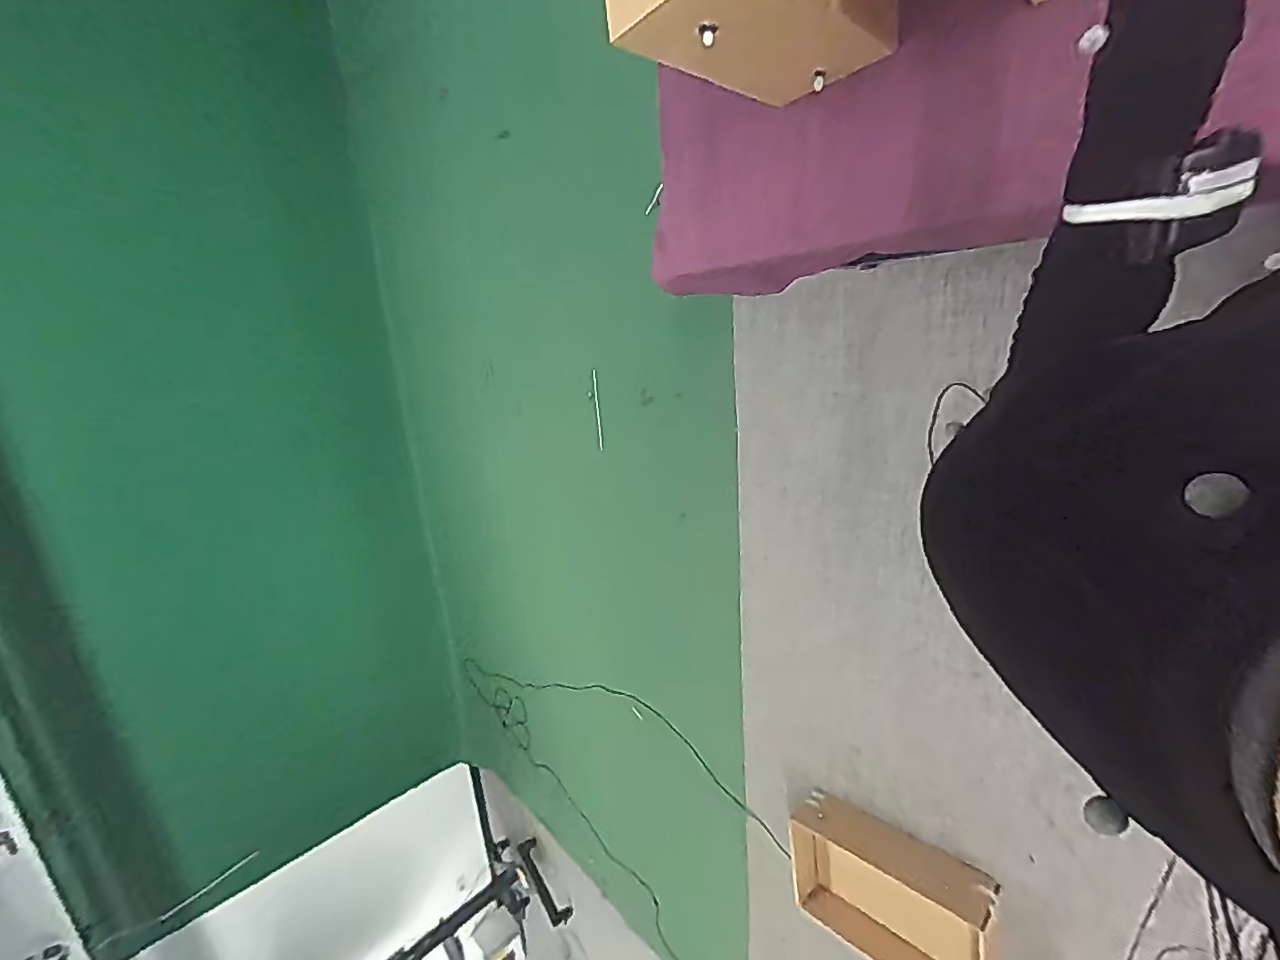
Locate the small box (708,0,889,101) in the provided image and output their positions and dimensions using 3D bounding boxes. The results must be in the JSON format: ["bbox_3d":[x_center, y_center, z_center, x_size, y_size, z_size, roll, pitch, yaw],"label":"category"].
[{"bbox_3d":[0.198,-0.611,0.676,0.179,0.176,0.168,9,110,46],"label":"small box"}]

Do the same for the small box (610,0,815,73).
[{"bbox_3d":[0.079,-0.571,0.569,0.179,0.176,0.168,9,111,47],"label":"small box"}]
